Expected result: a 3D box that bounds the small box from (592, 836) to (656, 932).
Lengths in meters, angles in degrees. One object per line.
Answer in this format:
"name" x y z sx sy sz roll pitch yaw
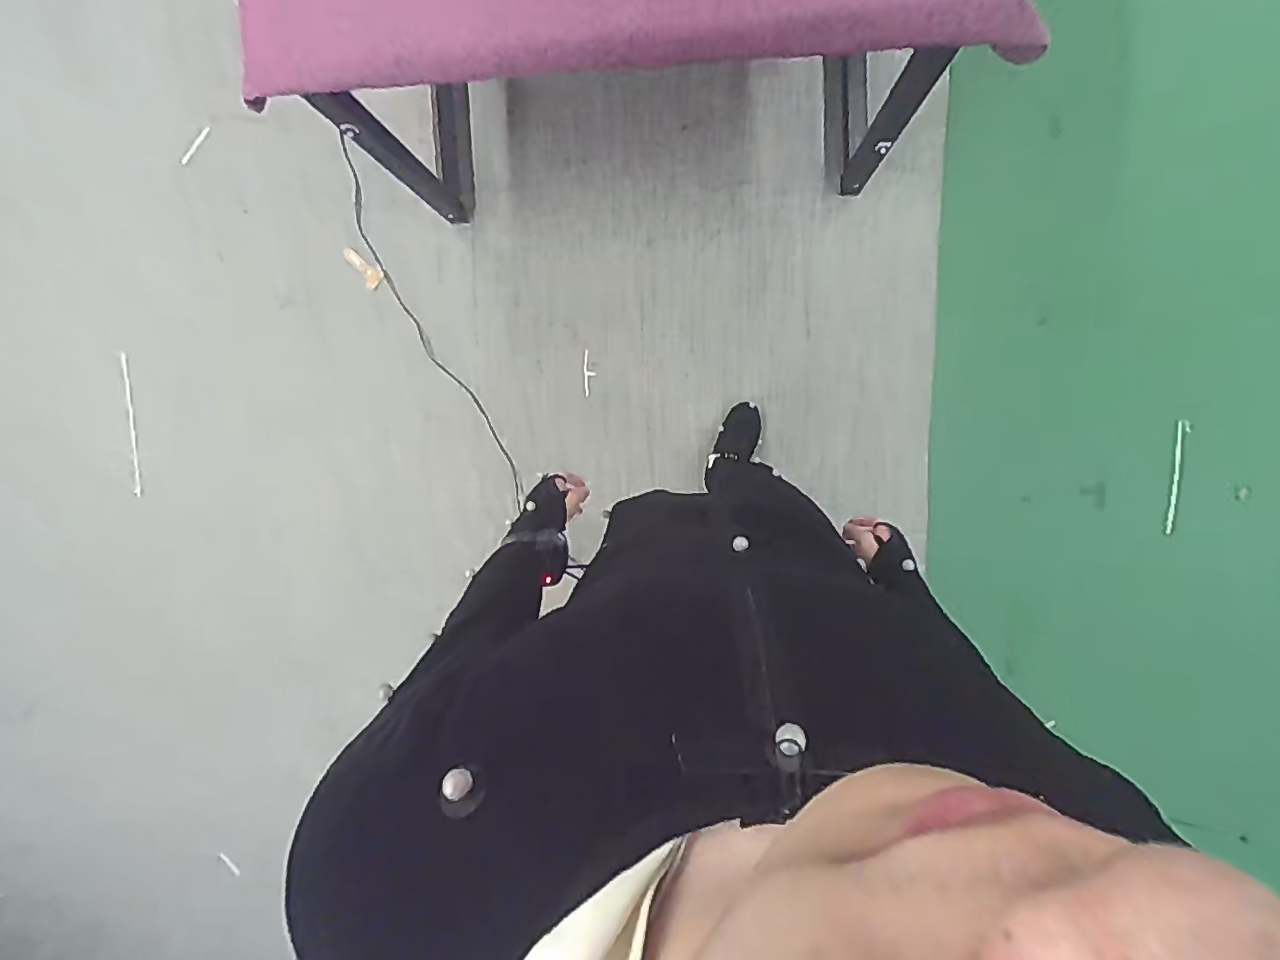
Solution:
"small box" -0.047 1.228 1.656 0.179 0.176 0.168 1 96 5
